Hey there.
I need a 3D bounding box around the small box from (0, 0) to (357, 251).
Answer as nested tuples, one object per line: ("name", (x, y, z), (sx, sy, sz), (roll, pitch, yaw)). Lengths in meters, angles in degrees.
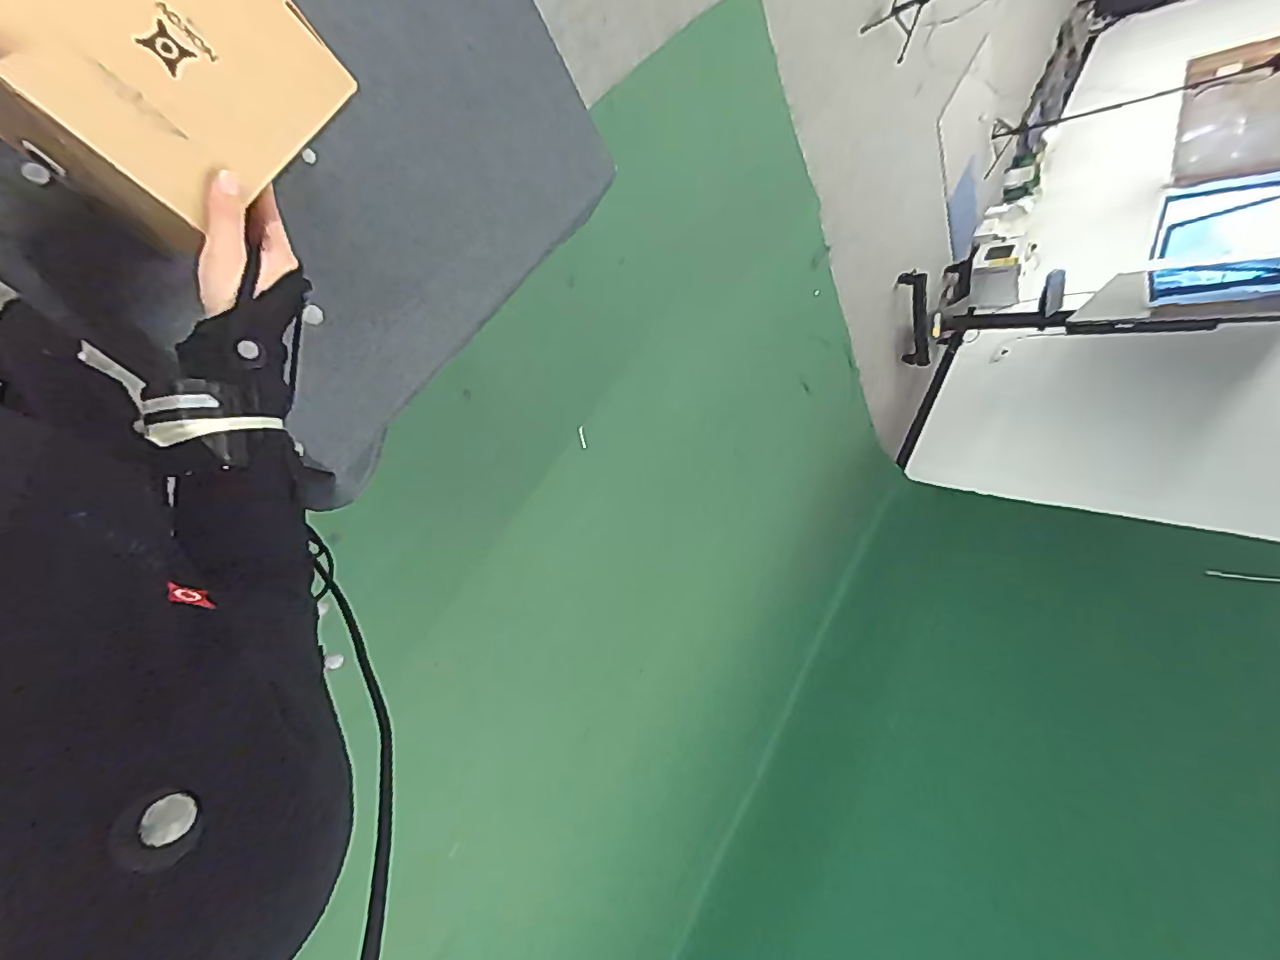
("small box", (-0.361, -0.299, 0.401), (0.168, 0.176, 0.179), (43, 69, -45))
